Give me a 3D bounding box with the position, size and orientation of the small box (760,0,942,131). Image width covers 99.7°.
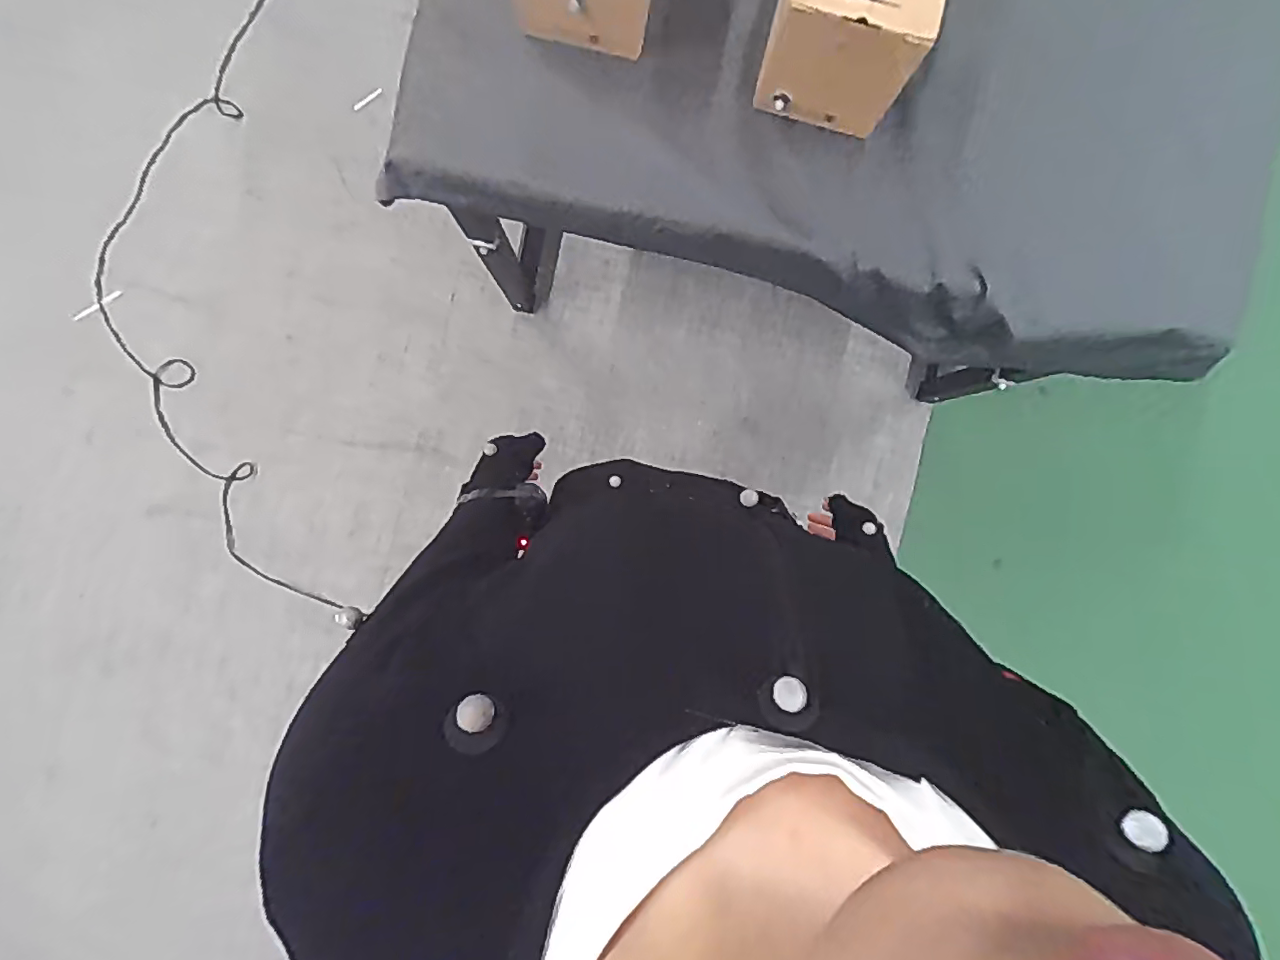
[{"bbox_3d":[0.258,-0.578,0.666,0.168,0.176,0.179,14,89,-2],"label":"small box"}]

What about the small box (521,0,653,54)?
[{"bbox_3d":[-0.059,-0.673,0.656,0.168,0.176,0.179,11,91,-2],"label":"small box"}]
